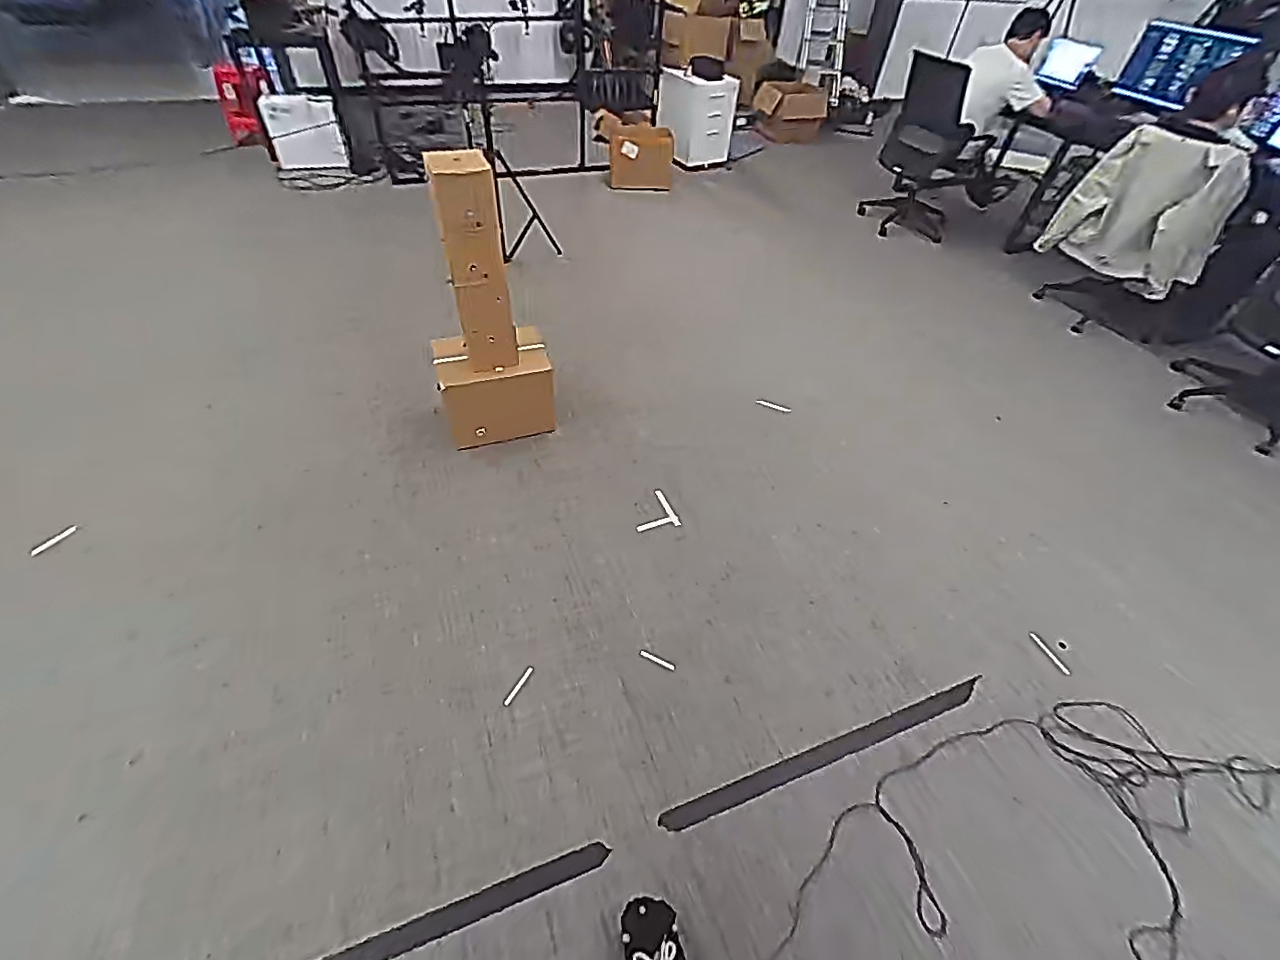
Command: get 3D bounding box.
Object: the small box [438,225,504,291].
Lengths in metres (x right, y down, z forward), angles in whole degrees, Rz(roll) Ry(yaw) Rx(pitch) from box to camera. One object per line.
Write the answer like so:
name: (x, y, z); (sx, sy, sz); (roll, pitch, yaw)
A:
small box: (-0.541, -0.729, 1.728); (0.168, 0.176, 0.179); (-15, 51, -18)

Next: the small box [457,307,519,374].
small box: (-0.549, -0.503, 1.964); (0.179, 0.176, 0.168); (-15, 51, -19)

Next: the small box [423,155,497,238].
small box: (-0.532, -0.842, 1.608); (0.168, 0.176, 0.179); (-16, 52, -18)
